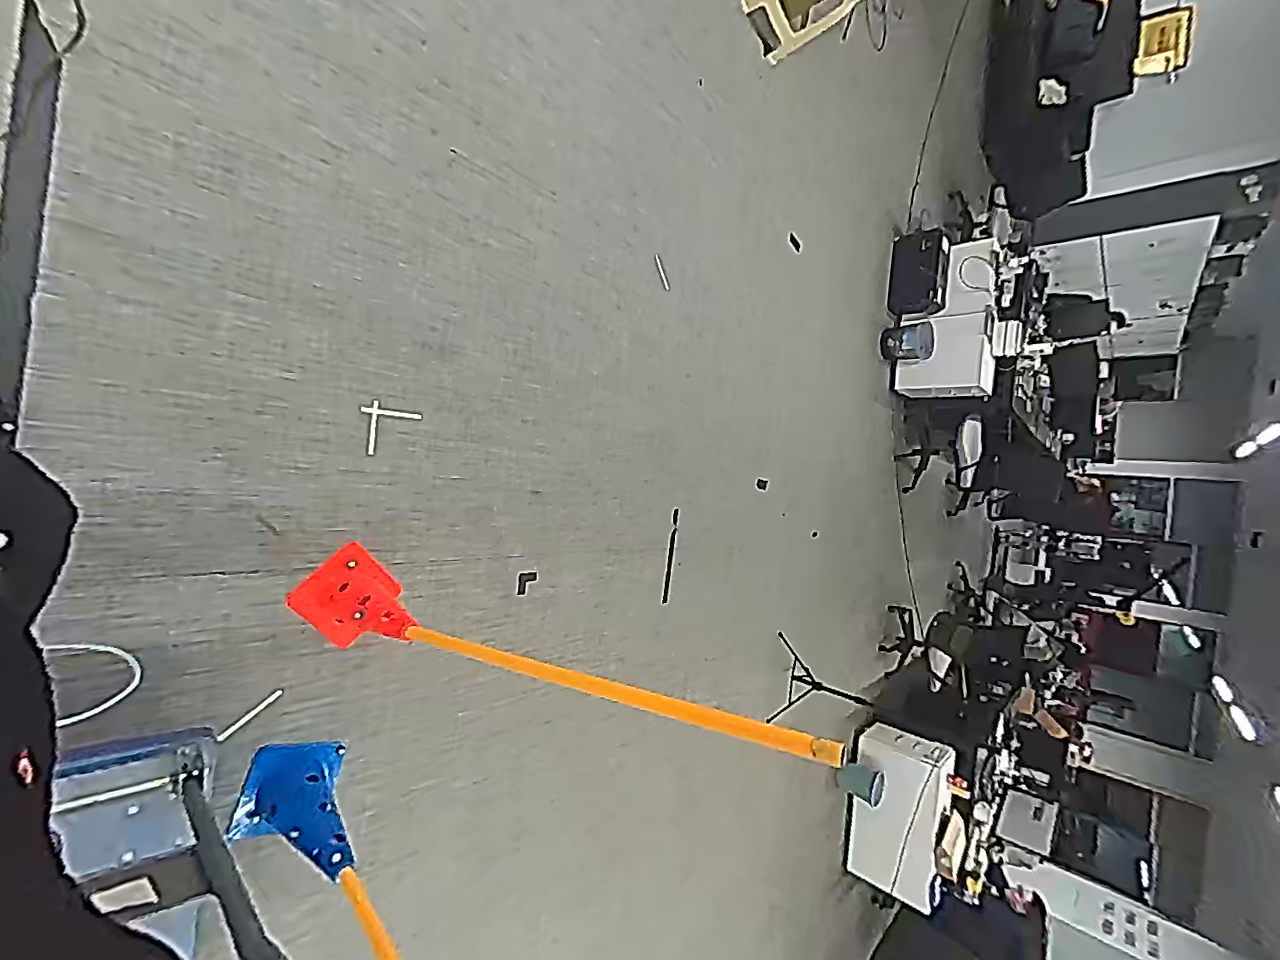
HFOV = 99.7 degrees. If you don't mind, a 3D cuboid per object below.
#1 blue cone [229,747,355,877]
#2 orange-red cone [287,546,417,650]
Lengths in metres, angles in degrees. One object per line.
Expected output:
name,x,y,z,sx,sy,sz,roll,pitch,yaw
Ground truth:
blue cone,-0.692,0.725,1.134,0.193,0.380,0.192,28,72,-45
orange-red cone,-0.584,0.298,1.188,0.199,0.360,0.198,-49,126,-31
